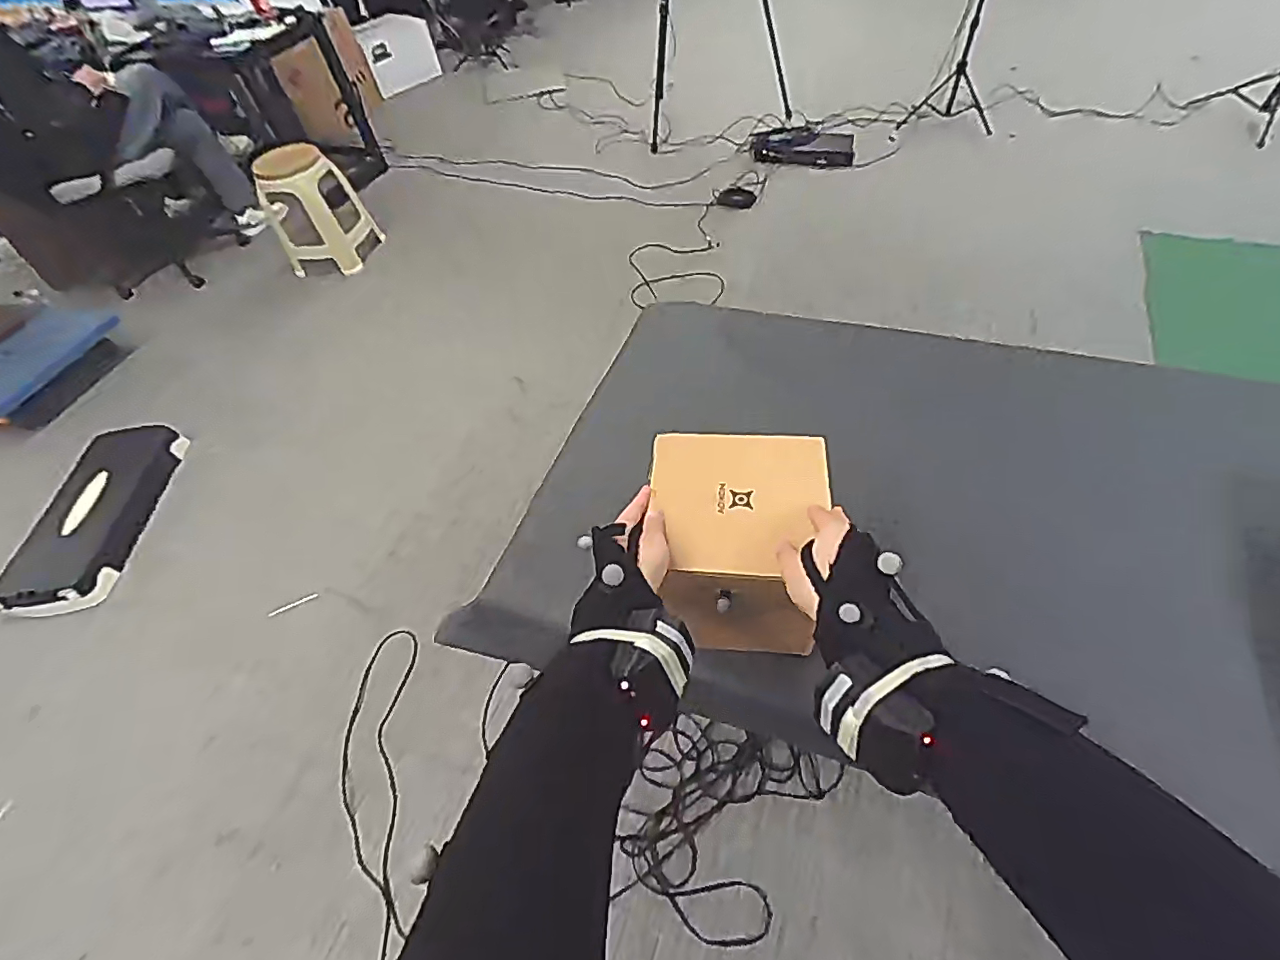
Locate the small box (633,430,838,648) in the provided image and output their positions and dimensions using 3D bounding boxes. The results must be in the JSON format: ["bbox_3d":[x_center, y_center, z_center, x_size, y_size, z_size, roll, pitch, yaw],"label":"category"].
[{"bbox_3d":[0.098,0.066,0.571,0.179,0.176,0.168,2,52,10],"label":"small box"}]
